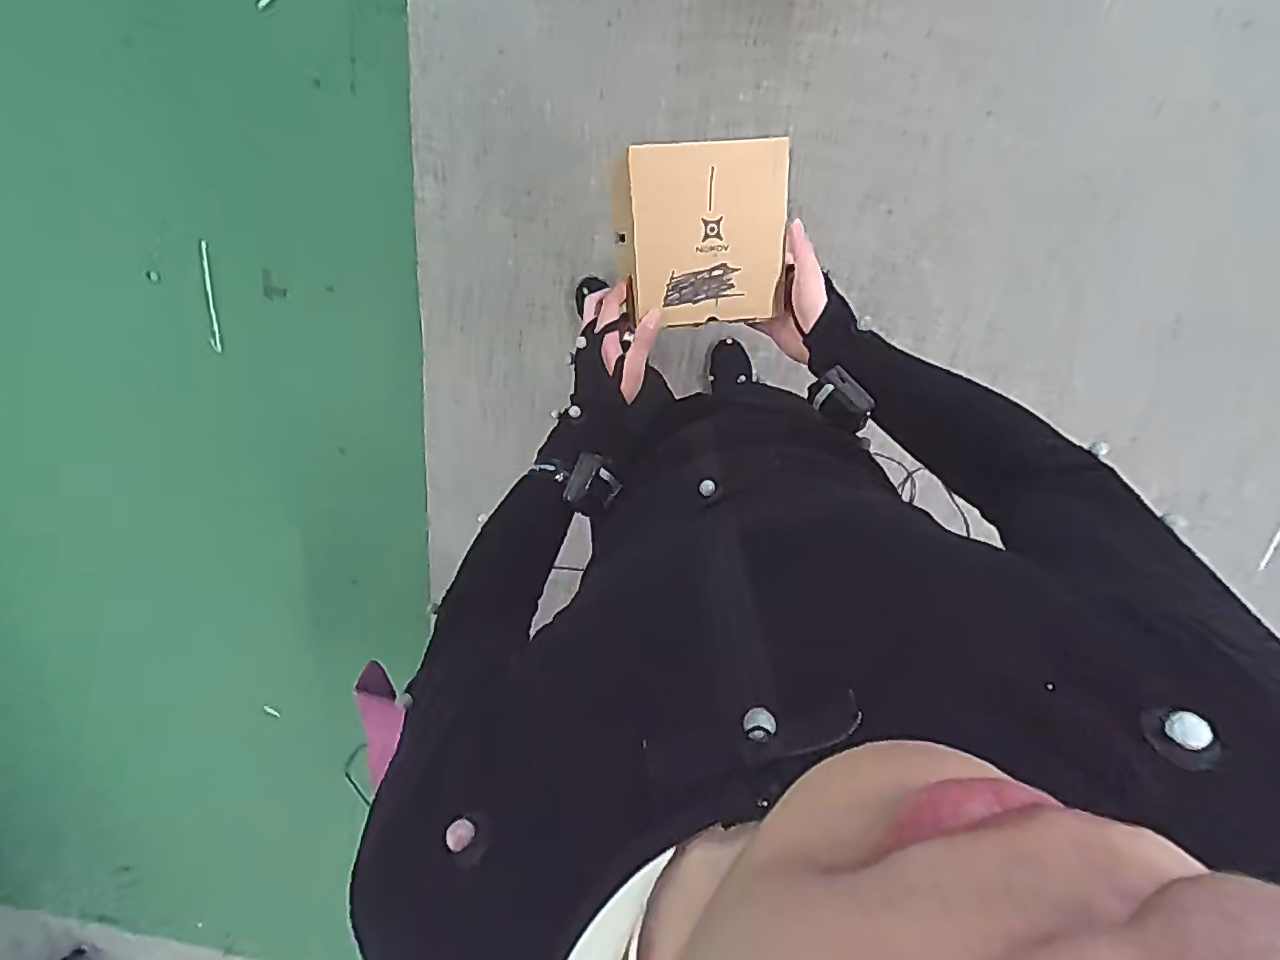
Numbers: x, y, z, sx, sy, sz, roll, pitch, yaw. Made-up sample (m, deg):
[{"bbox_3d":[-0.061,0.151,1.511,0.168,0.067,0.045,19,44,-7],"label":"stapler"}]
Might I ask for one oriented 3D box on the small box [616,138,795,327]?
[{"bbox_3d":[0.064,-0.281,0.627,0.168,0.176,0.179,-6,112,-7],"label":"small box"}]
